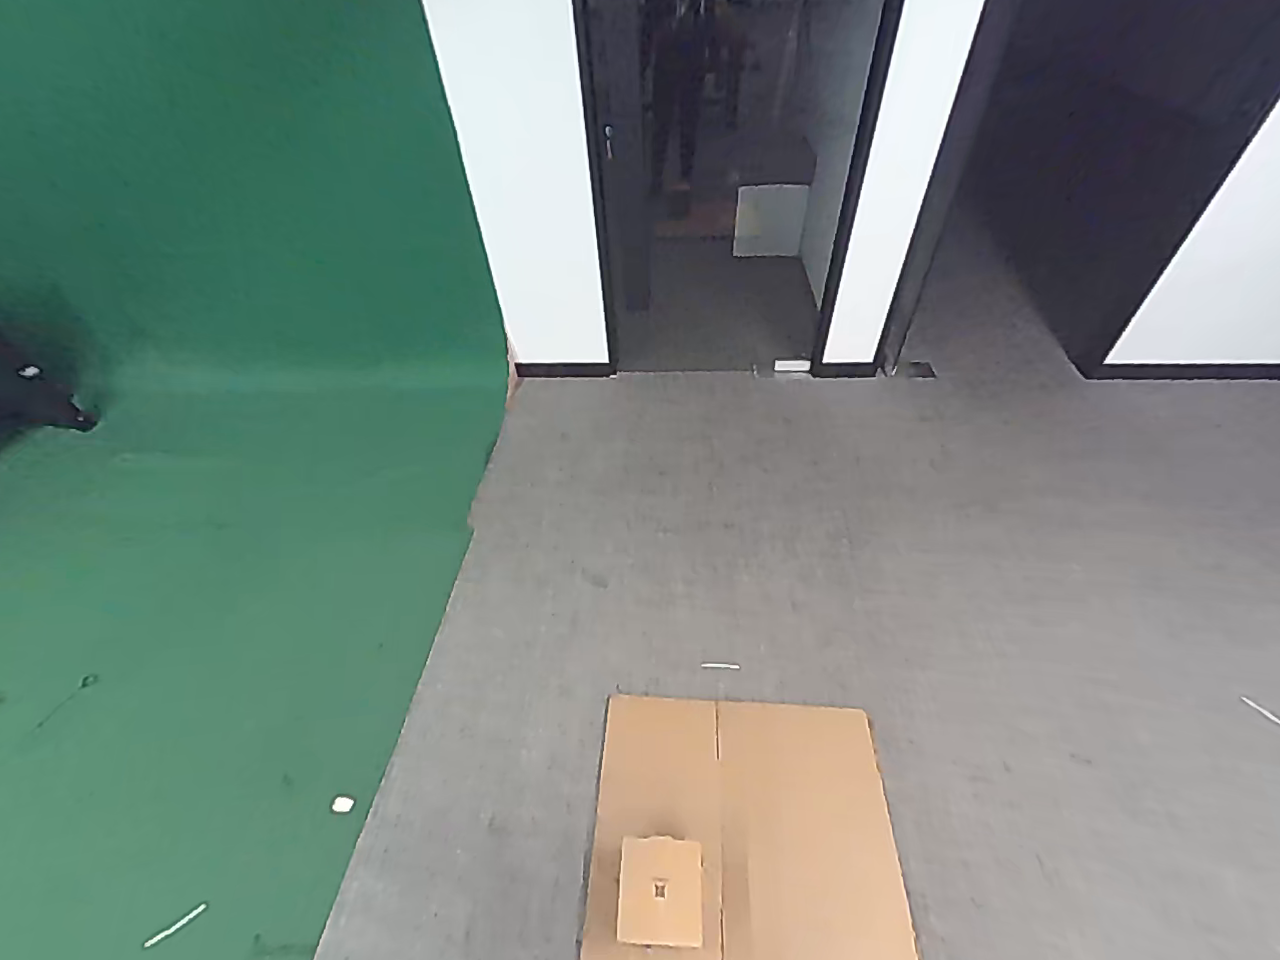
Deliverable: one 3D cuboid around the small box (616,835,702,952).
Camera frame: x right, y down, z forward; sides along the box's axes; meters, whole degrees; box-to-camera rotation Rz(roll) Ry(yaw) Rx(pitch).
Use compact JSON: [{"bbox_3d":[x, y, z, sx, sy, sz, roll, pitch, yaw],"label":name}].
[{"bbox_3d":[0.045,0.865,1.130,0.168,0.176,0.179,0,46,3],"label":"small box"}]
